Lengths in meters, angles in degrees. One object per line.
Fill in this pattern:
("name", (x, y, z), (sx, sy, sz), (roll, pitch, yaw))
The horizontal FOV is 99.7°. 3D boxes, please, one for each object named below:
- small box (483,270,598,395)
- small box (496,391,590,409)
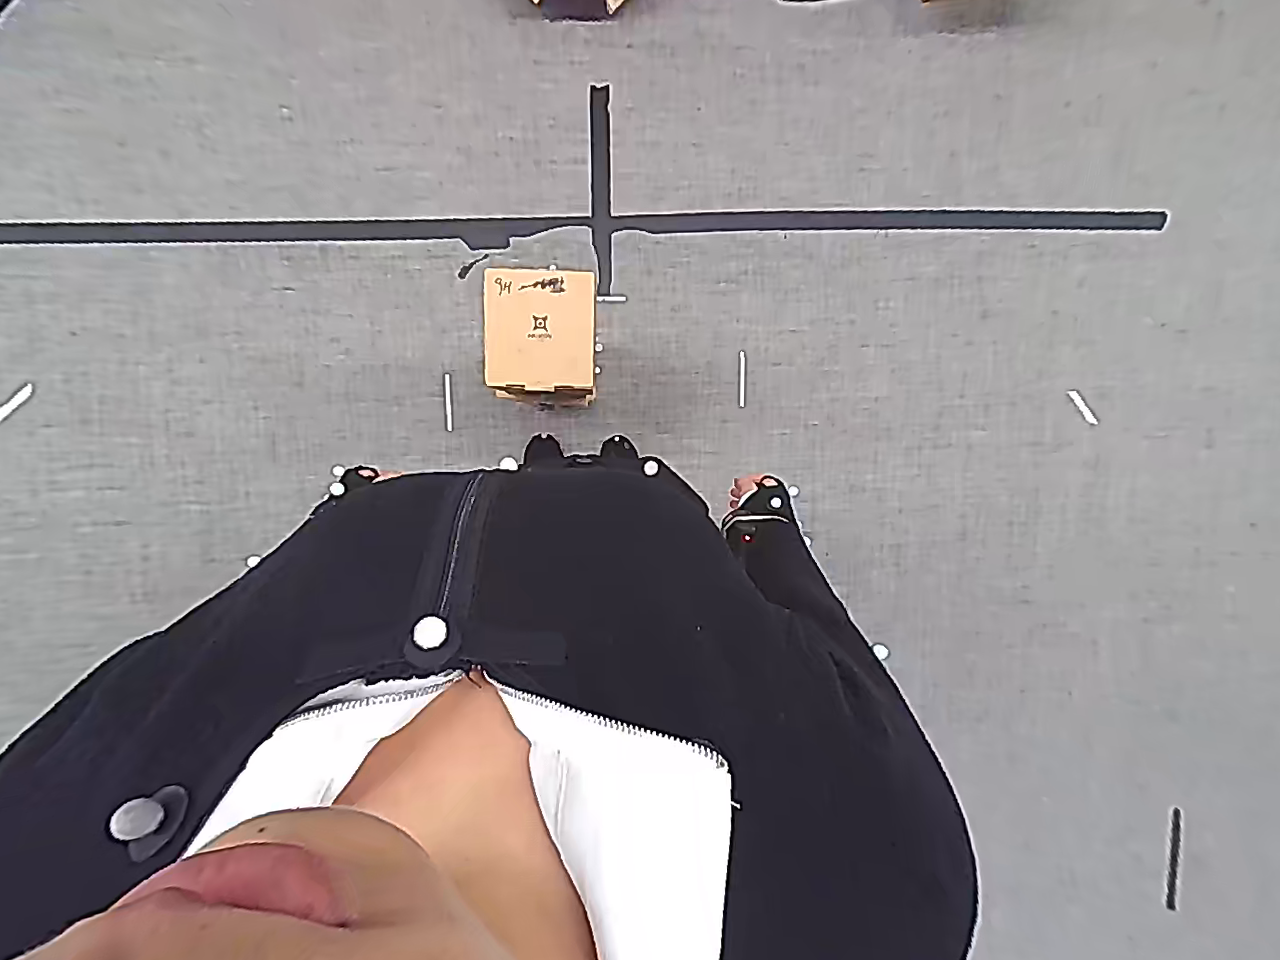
("small box", (-0.155, -0.230, 0.886), (0.168, 0.176, 0.179), (1, 96, -4))
("small box", (-0.177, -0.233, 1.049), (0.168, 0.176, 0.179), (4, 97, -4))
